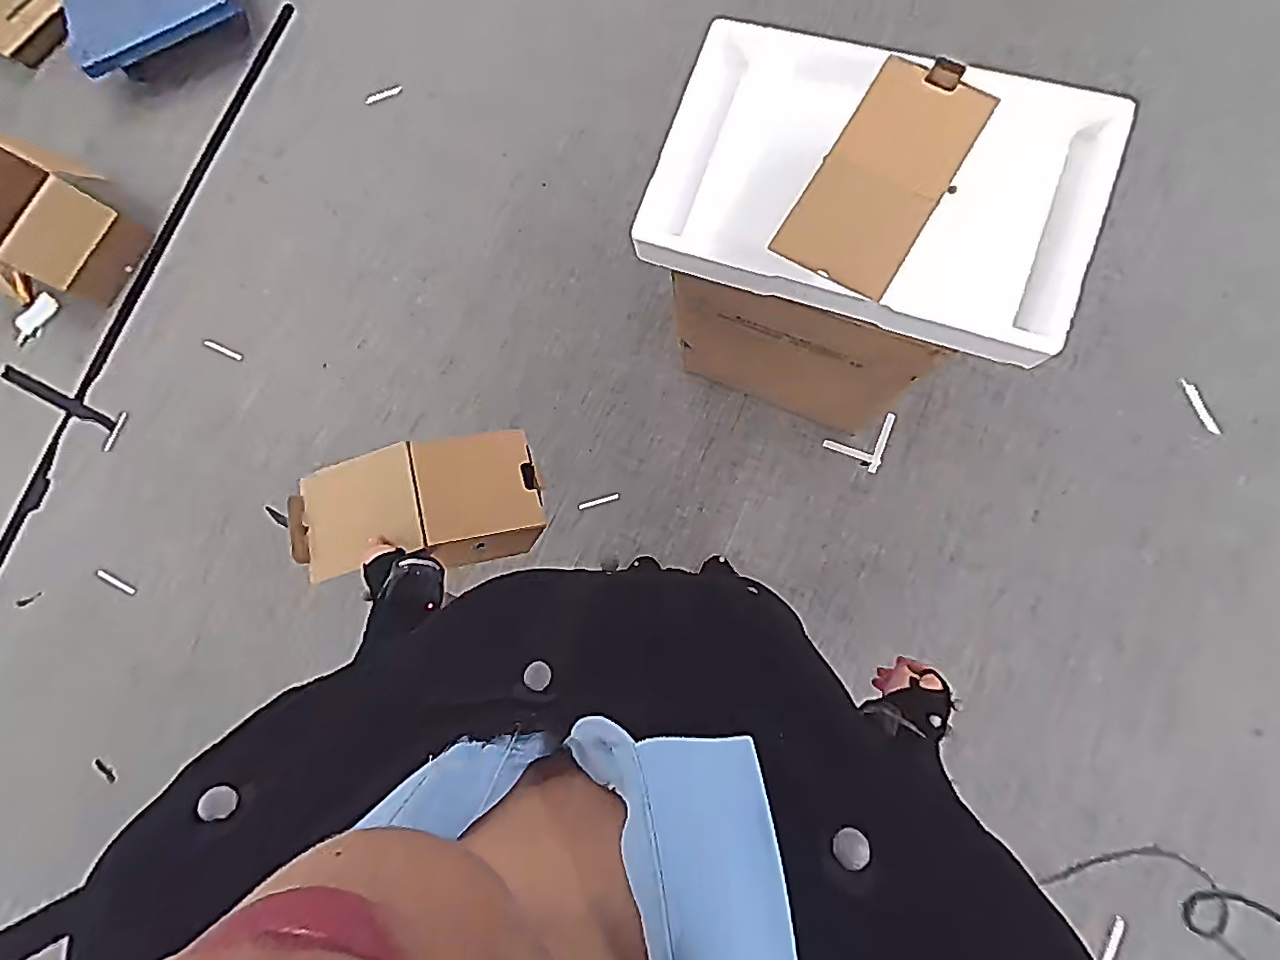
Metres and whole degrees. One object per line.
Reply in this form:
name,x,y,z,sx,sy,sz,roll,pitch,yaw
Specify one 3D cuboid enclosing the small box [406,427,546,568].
small box,-0.264,0.032,0.854,0.179,0.176,0.168,-8,73,-25
